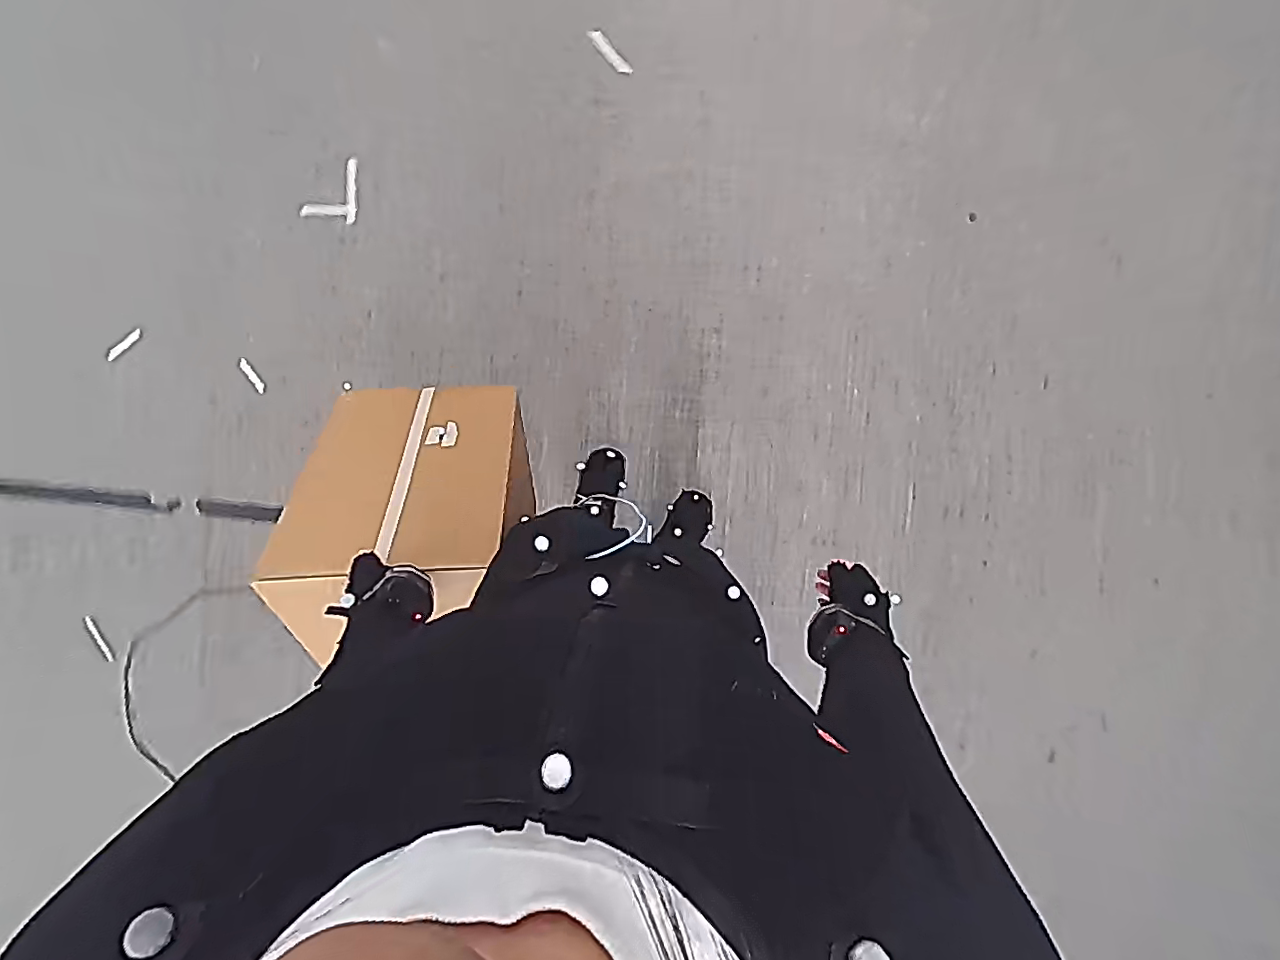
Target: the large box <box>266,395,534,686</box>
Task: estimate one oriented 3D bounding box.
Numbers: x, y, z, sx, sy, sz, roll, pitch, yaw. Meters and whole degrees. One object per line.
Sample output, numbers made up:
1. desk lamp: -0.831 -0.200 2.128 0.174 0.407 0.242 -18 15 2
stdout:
1. large box: -0.366 0.099 0.964 0.320 0.408 0.320 -3 135 -5
